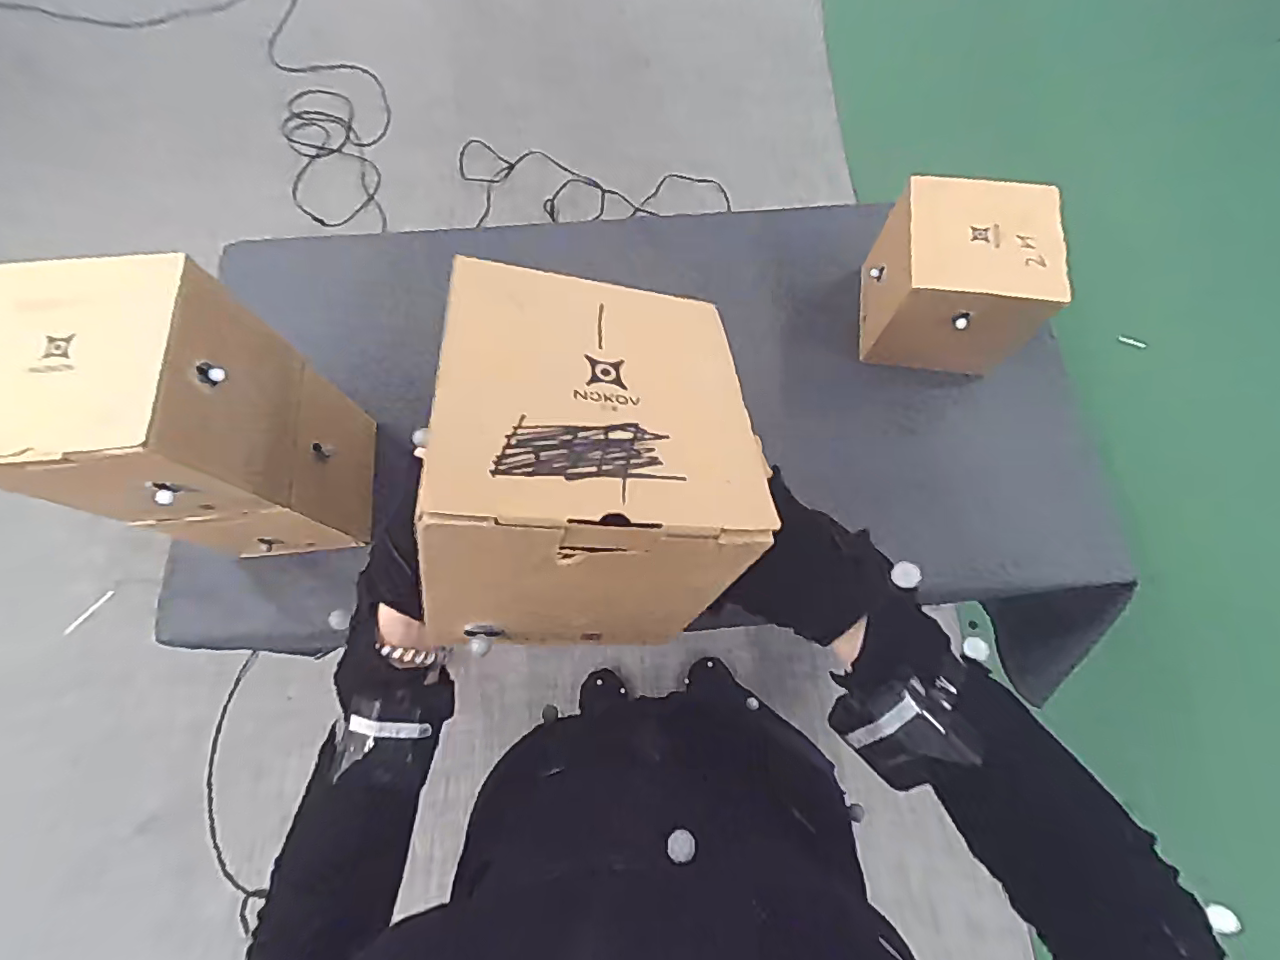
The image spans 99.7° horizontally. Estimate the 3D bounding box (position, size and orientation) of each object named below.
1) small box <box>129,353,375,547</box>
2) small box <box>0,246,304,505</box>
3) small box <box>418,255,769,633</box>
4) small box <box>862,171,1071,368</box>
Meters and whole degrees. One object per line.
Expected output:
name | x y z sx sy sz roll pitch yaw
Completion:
small box | -0.435 -0.028 0.643 0.168 0.176 0.179 -5 72 -1
small box | -0.438 -0.079 0.488 0.168 0.176 0.179 -3 72 -1
small box | -0.041 -0.008 0.353 0.168 0.176 0.179 6 55 -16
small box | 0.403 -0.261 0.699 0.179 0.176 0.168 8 73 4
